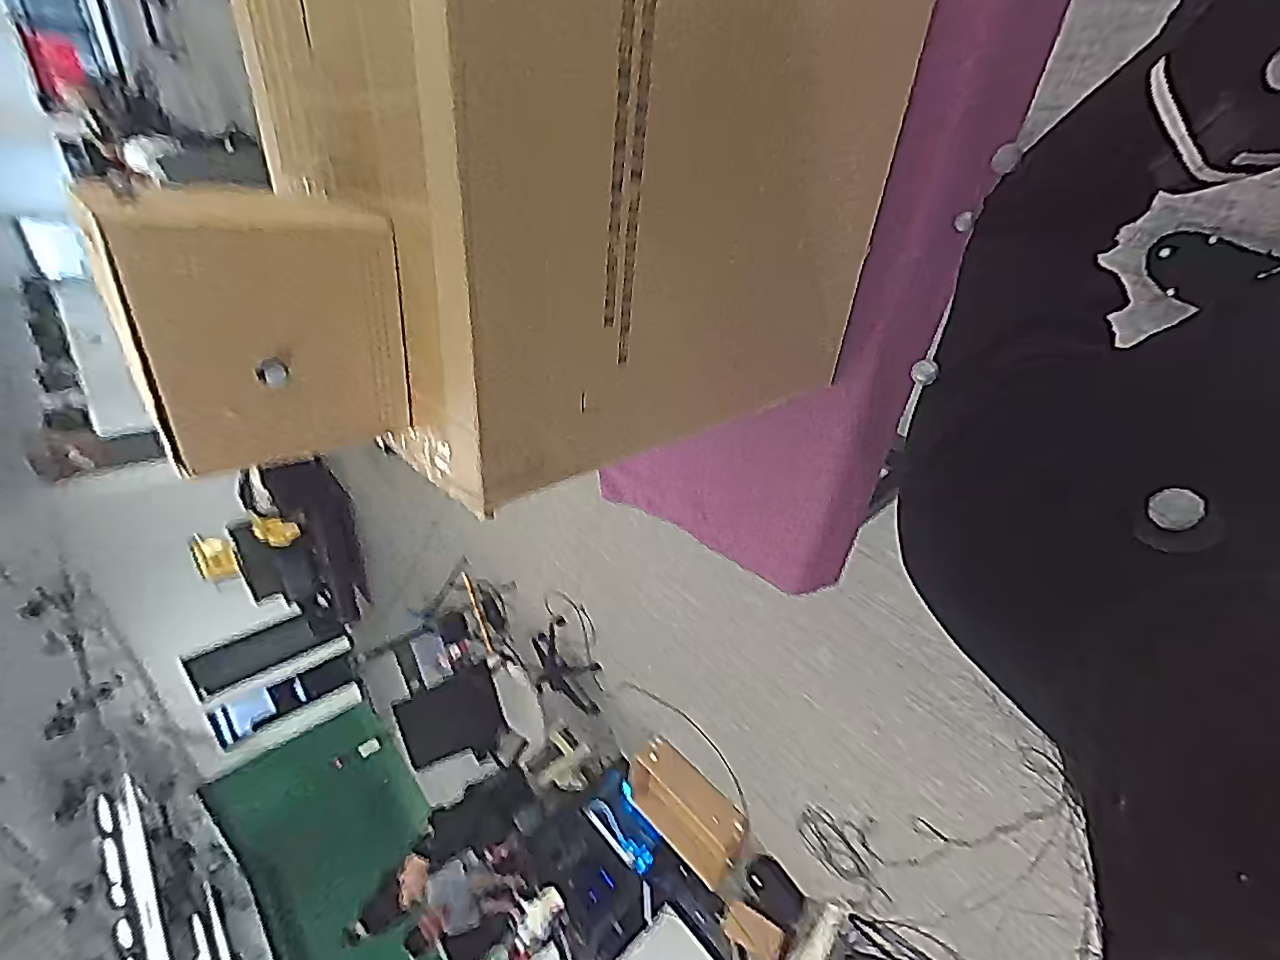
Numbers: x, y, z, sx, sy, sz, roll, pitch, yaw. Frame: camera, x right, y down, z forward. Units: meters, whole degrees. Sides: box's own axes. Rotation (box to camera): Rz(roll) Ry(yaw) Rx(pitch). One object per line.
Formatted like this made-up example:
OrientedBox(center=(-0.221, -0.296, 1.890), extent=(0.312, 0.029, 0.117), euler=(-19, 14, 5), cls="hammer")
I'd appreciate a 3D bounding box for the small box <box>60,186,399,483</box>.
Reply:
OrientedBox(center=(-0.313, -0.128, 0.440), extent=(0.168, 0.176, 0.179), euler=(32, 128, 35), cls="small box")
